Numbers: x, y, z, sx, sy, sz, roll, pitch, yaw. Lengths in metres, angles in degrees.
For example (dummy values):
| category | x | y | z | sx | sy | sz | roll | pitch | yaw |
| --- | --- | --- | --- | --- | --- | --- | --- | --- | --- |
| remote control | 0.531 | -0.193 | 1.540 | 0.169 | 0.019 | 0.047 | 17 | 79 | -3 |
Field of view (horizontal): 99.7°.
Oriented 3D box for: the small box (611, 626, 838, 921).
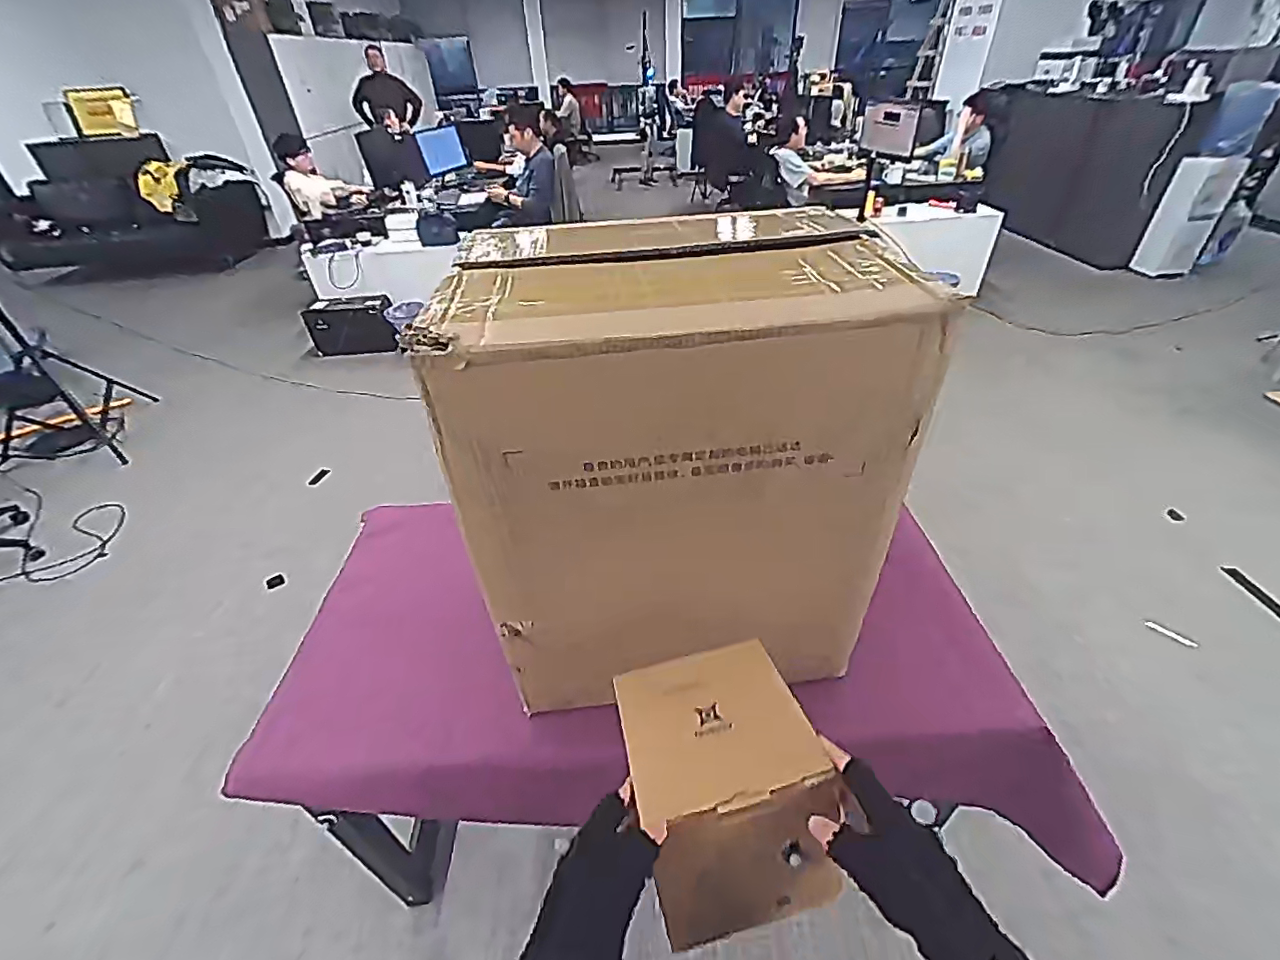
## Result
| category | x | y | z | sx | sy | sz | roll | pitch | yaw |
| --- | --- | --- | --- | --- | --- | --- | --- | --- | --- |
| small box | 0.077 | 0.278 | 0.523 | 0.168 | 0.176 | 0.179 | -13 | 23 | -7 |
